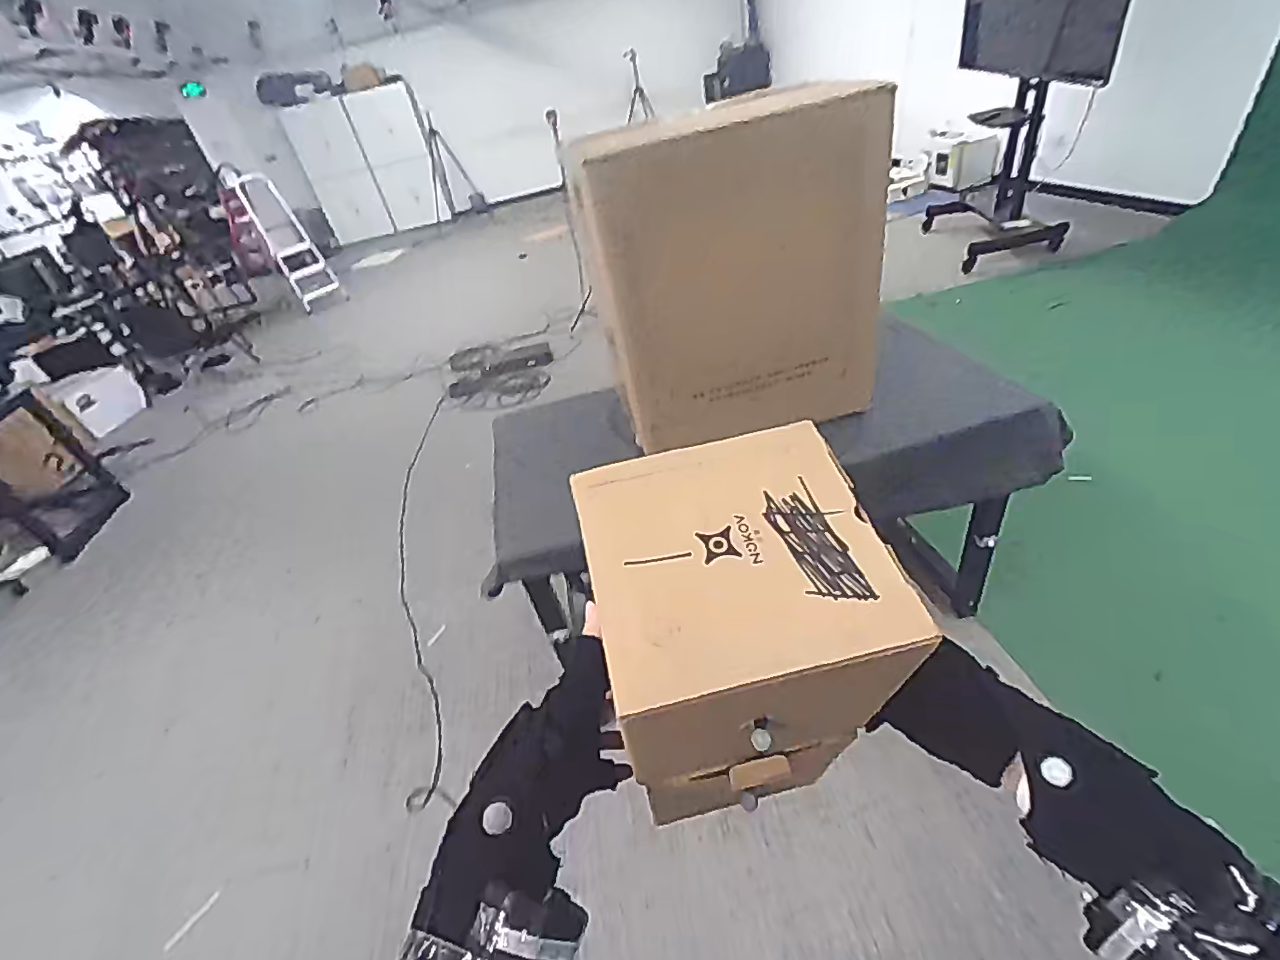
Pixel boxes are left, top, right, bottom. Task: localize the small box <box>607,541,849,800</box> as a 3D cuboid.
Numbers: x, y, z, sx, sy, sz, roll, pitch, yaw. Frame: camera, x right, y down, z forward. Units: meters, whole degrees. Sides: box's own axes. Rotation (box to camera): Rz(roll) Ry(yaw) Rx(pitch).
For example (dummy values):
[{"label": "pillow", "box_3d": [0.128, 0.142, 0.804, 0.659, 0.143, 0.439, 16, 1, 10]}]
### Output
[{"label": "small box", "box_3d": [0.070, 0.189, 0.520, 0.168, 0.176, 0.179, -12, 51, -6]}]
